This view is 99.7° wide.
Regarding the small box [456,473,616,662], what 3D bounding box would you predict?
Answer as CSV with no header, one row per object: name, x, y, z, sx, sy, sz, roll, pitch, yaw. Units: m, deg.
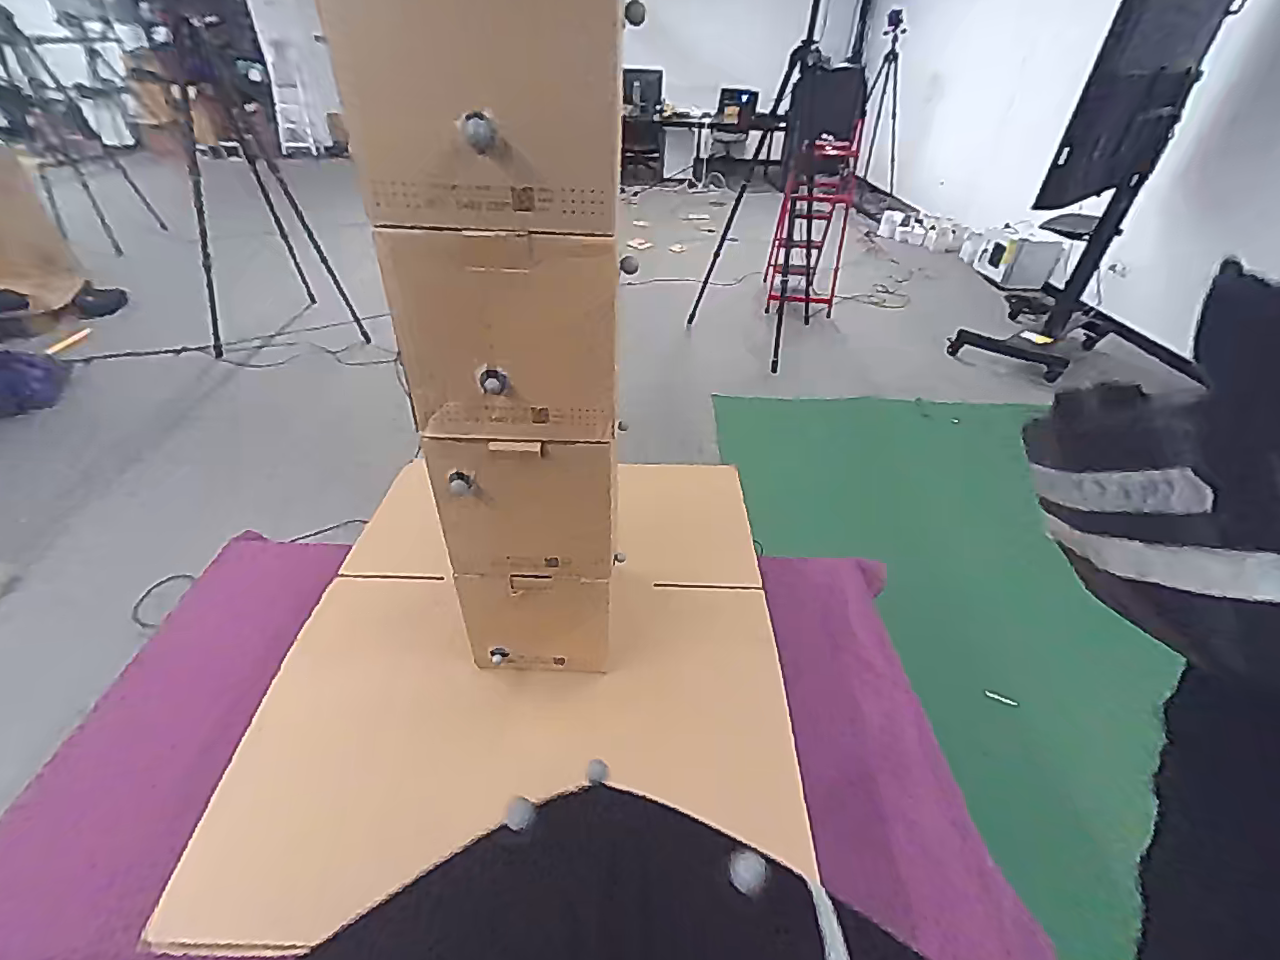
small box,-0.113,0.109,0.672,0.168,0.176,0.179,1,39,-3

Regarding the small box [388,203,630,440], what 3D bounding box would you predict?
small box,-0.095,-0.154,0.478,0.168,0.176,0.179,2,37,-3

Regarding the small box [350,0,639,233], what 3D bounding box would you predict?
small box,-0.086,-0.286,0.380,0.168,0.176,0.179,2,37,-2
